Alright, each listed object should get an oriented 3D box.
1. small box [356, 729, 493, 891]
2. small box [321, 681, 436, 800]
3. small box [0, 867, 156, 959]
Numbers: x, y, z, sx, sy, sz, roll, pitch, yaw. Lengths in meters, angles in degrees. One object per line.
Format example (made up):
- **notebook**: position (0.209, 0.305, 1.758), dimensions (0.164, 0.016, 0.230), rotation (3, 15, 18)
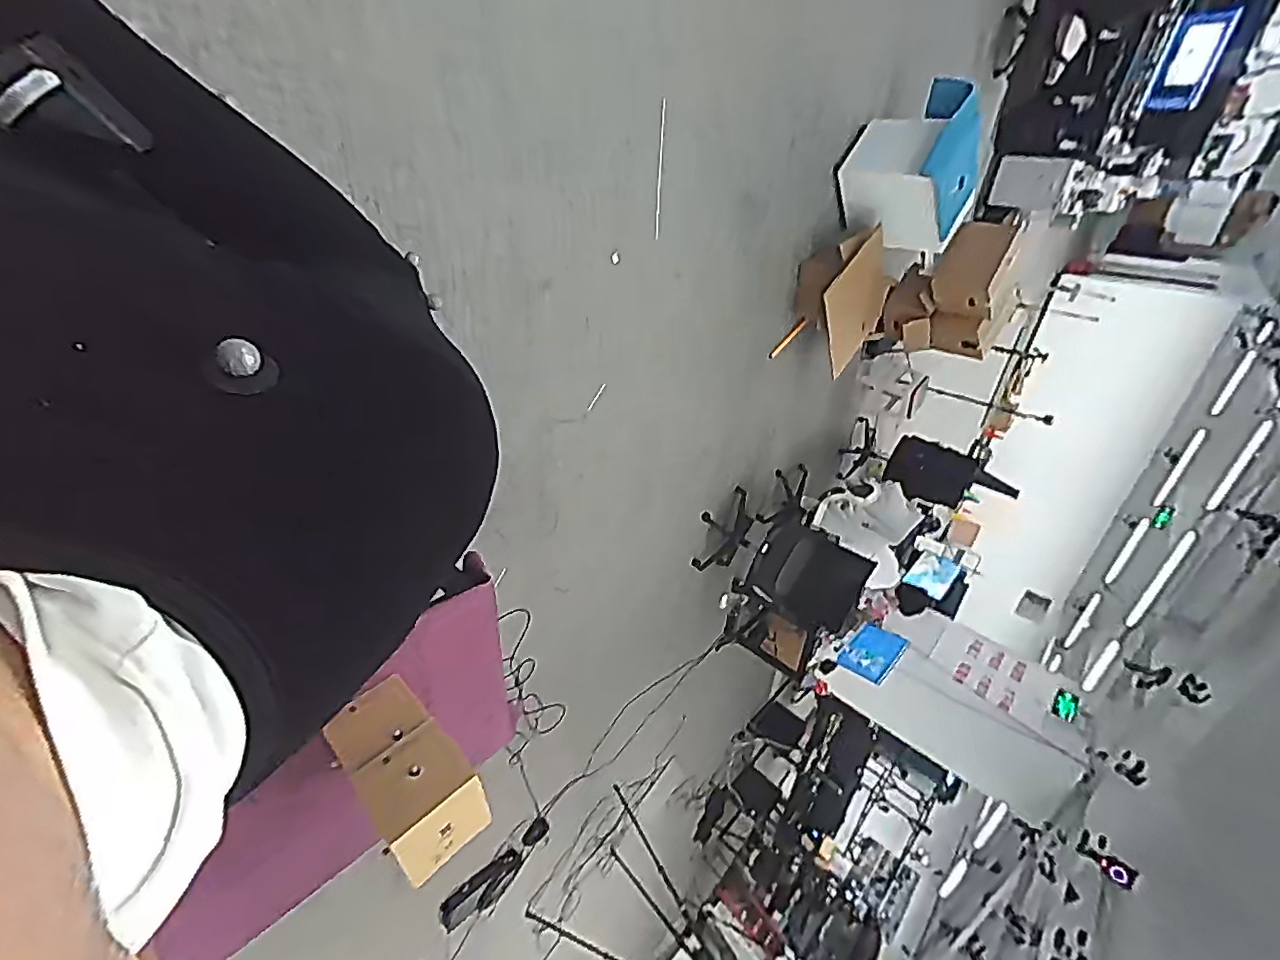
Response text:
- **small box**: position (-0.406, 0.608, 1.020), dimensions (0.168, 0.176, 0.179), rotation (-30, 134, -37)
- **small box**: position (-0.526, 0.559, 1.124), dimensions (0.168, 0.176, 0.179), rotation (-32, 136, -37)
- **small box**: position (-0.866, 0.729, 0.803), dimensions (0.168, 0.176, 0.179), rotation (-29, 135, -39)
